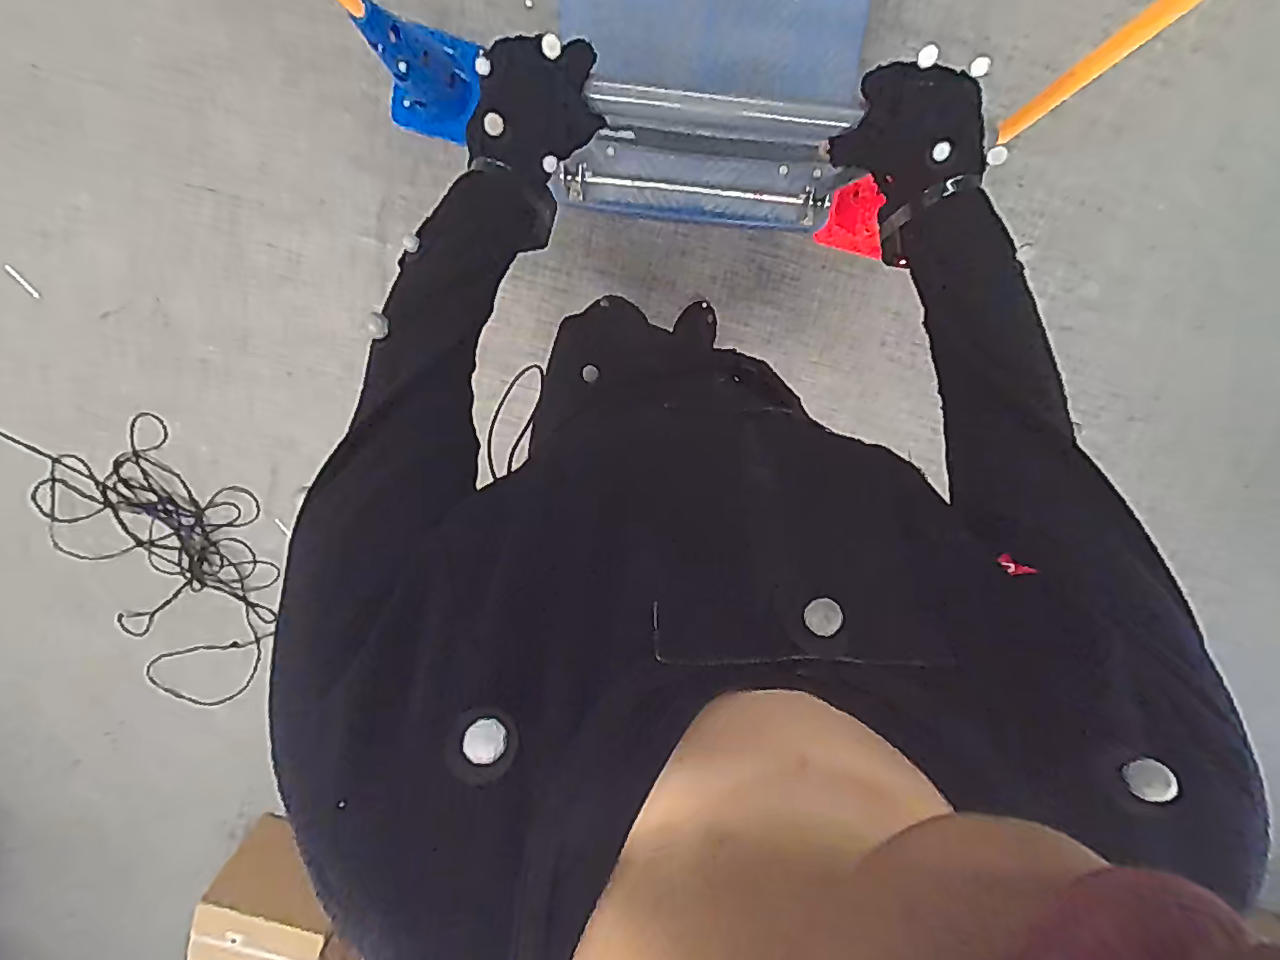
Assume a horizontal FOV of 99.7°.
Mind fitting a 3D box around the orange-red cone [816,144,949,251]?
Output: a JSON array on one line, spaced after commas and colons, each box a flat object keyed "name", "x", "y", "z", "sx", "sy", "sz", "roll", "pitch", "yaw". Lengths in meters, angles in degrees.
[{"name": "orange-red cone", "x": 0.526, "y": -0.604, "z": 1.109, "sx": 0.199, "sy": 0.360, "sz": 0.198, "roll": 16, "pitch": 109, "yaw": -3}]
